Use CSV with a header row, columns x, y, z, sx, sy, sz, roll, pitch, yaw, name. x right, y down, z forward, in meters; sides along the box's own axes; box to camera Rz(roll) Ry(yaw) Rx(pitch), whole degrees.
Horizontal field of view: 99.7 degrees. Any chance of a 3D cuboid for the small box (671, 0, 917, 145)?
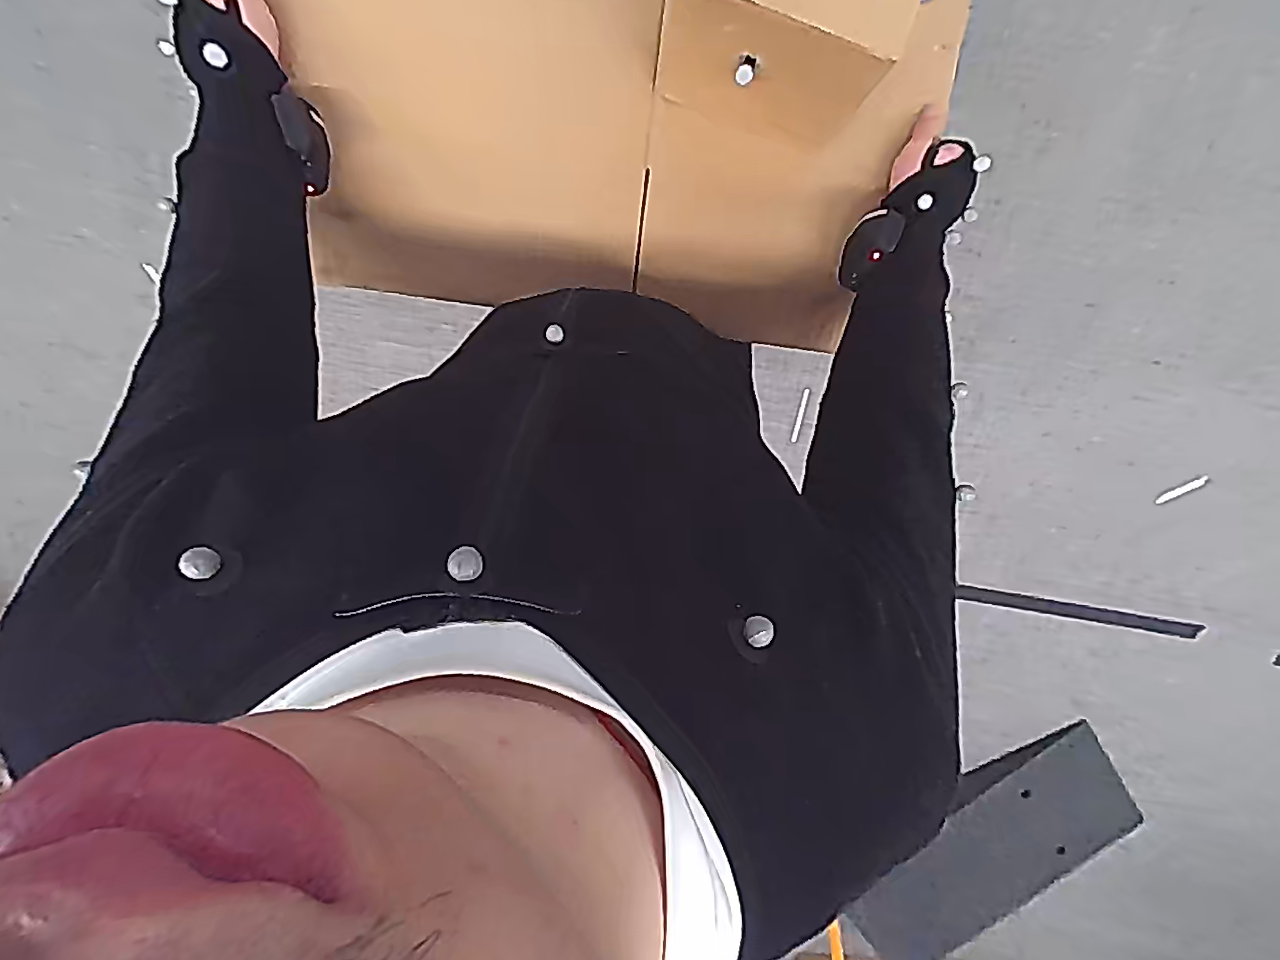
x,y,z,sx,sy,sz,roll,pitch,yaw,name
0.133,-0.426,0.465,0.179,0.176,0.168,17,100,-4,small box
